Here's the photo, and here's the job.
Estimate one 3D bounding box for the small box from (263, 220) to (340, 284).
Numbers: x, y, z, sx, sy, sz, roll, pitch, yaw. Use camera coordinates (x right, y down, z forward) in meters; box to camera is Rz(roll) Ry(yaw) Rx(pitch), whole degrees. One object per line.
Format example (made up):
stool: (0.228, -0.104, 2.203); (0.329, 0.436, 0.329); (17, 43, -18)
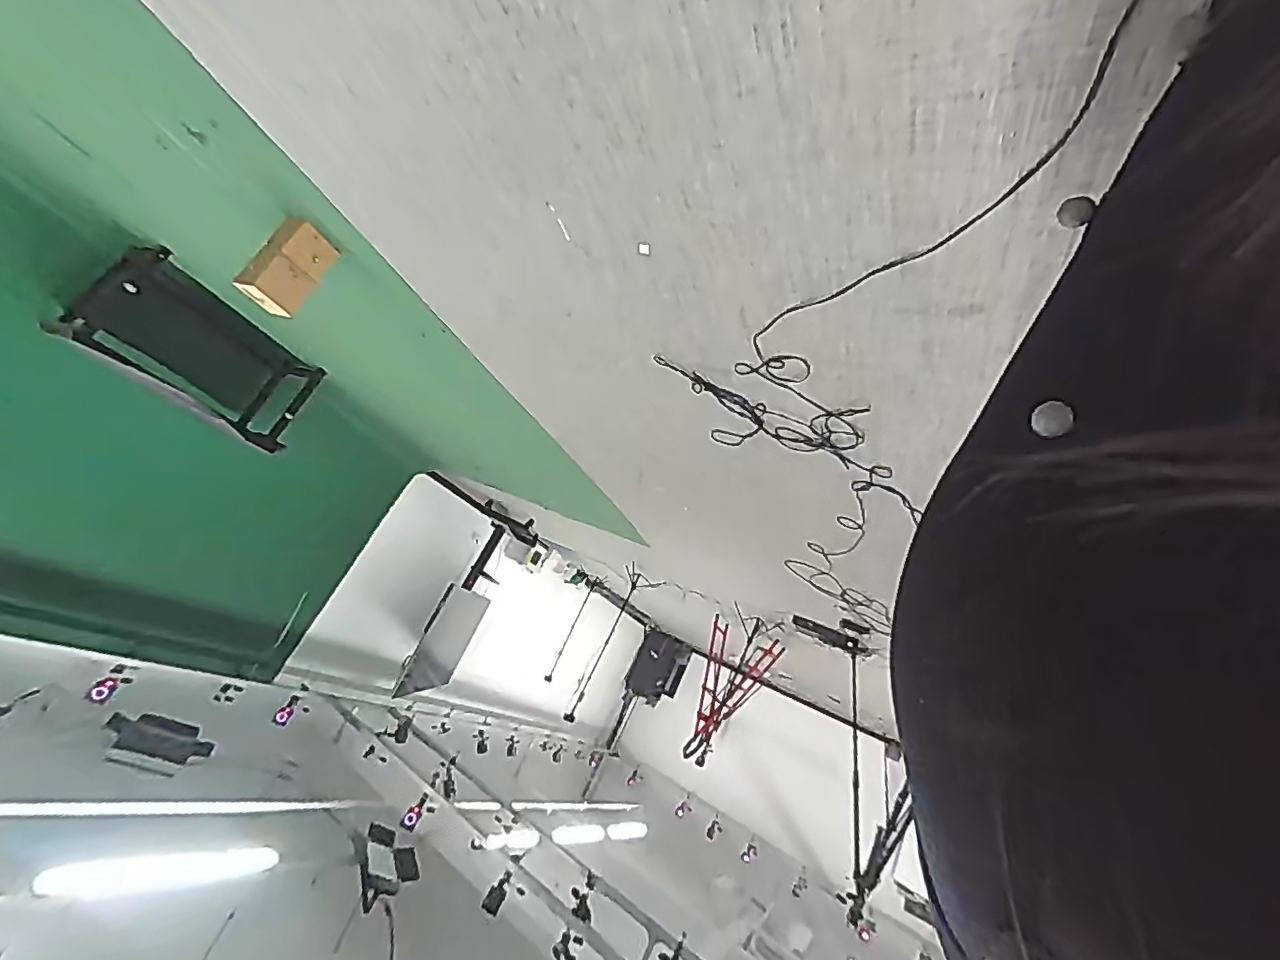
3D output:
small box: (-1.325, -0.901, 2.131); (0.179, 0.176, 0.168); (18, 162, 31)
